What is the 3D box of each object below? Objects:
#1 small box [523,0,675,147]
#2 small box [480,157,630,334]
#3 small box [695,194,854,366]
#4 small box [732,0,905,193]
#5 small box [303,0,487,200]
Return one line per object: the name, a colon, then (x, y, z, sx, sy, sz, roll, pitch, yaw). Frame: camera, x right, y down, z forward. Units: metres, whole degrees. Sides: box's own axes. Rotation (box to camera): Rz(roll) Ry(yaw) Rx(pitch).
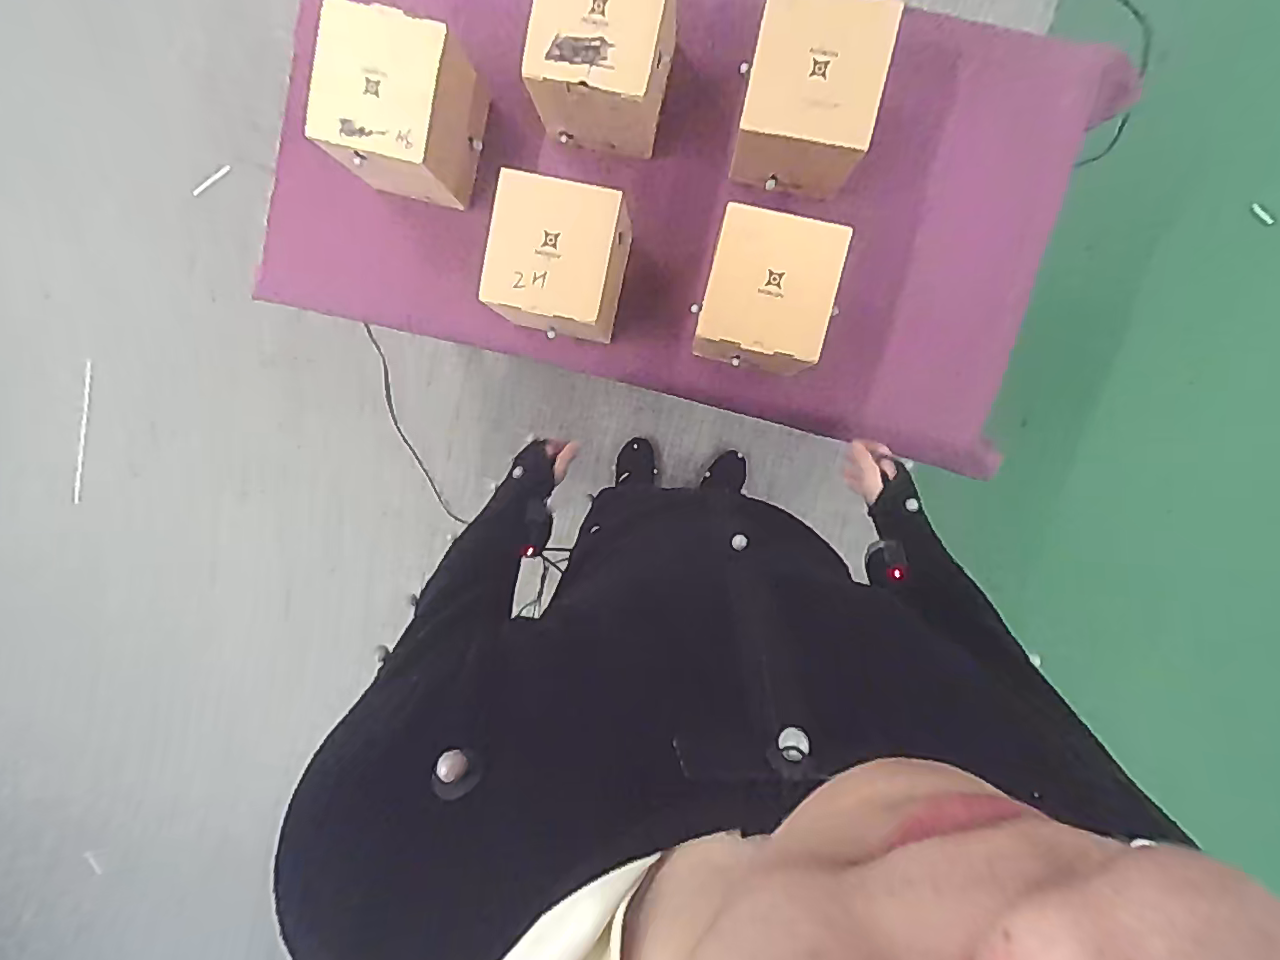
small box: (-0.047, -0.600, 0.749, 0.168, 0.176, 0.179, 13, 97, 2)
small box: (-0.113, -0.326, 0.787, 0.168, 0.176, 0.179, 13, 97, 2)
small box: (0.178, -0.273, 0.778, 0.168, 0.176, 0.179, 13, 98, 2)
small box: (0.229, -0.530, 0.743, 0.168, 0.176, 0.179, 13, 99, 3)
small box: (-0.335, -0.537, 0.772, 0.168, 0.176, 0.179, 15, 98, 3)
